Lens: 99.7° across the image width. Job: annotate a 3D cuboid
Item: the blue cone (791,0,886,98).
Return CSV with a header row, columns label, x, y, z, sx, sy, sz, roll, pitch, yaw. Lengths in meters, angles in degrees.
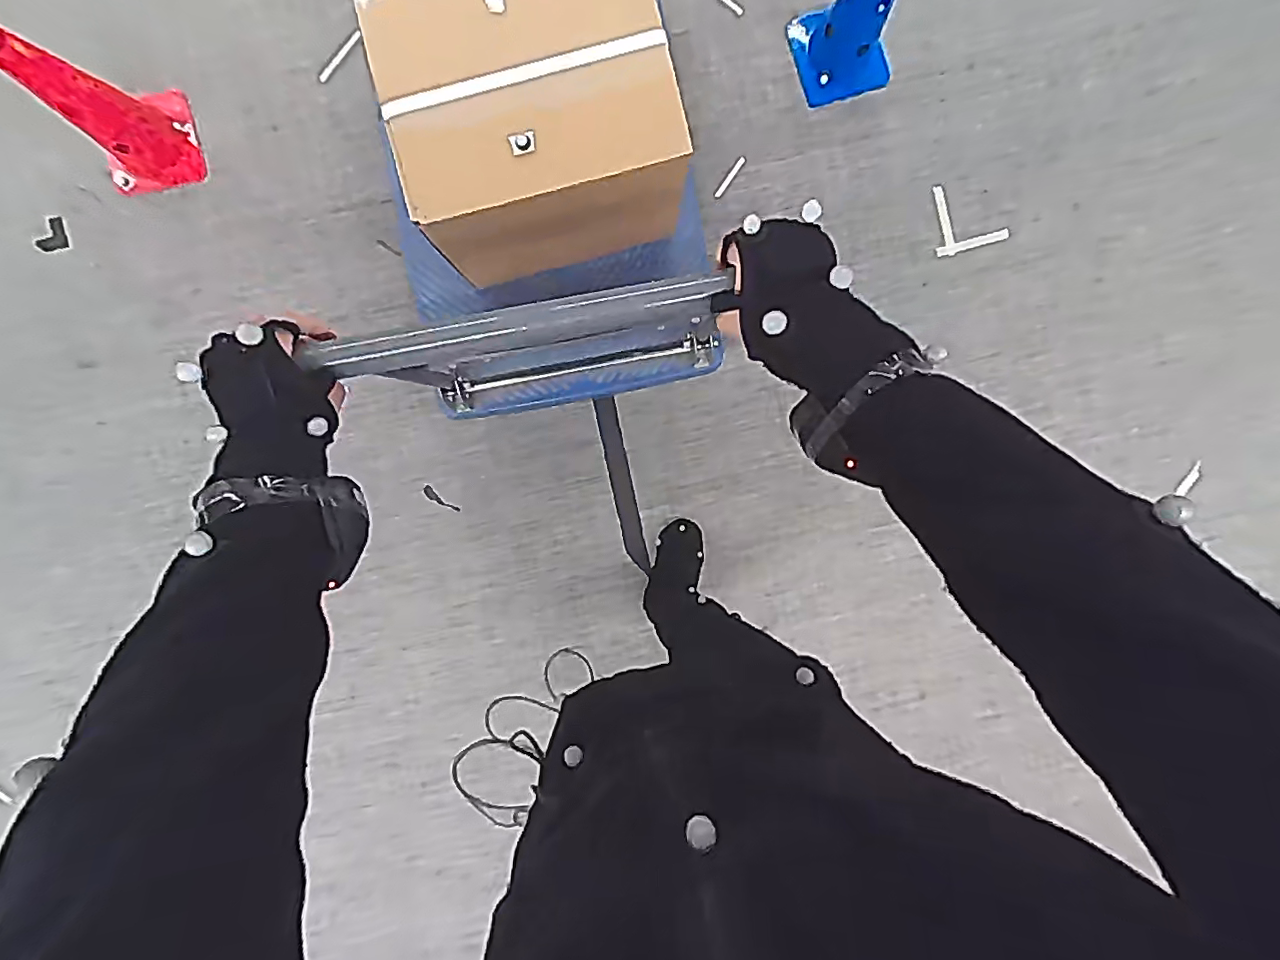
label,x,y,z,sx,sy,sz,roll,pitch,yaw
blue cone,0.454,-0.965,1.054,0.193,0.380,0.192,-17,92,-1
